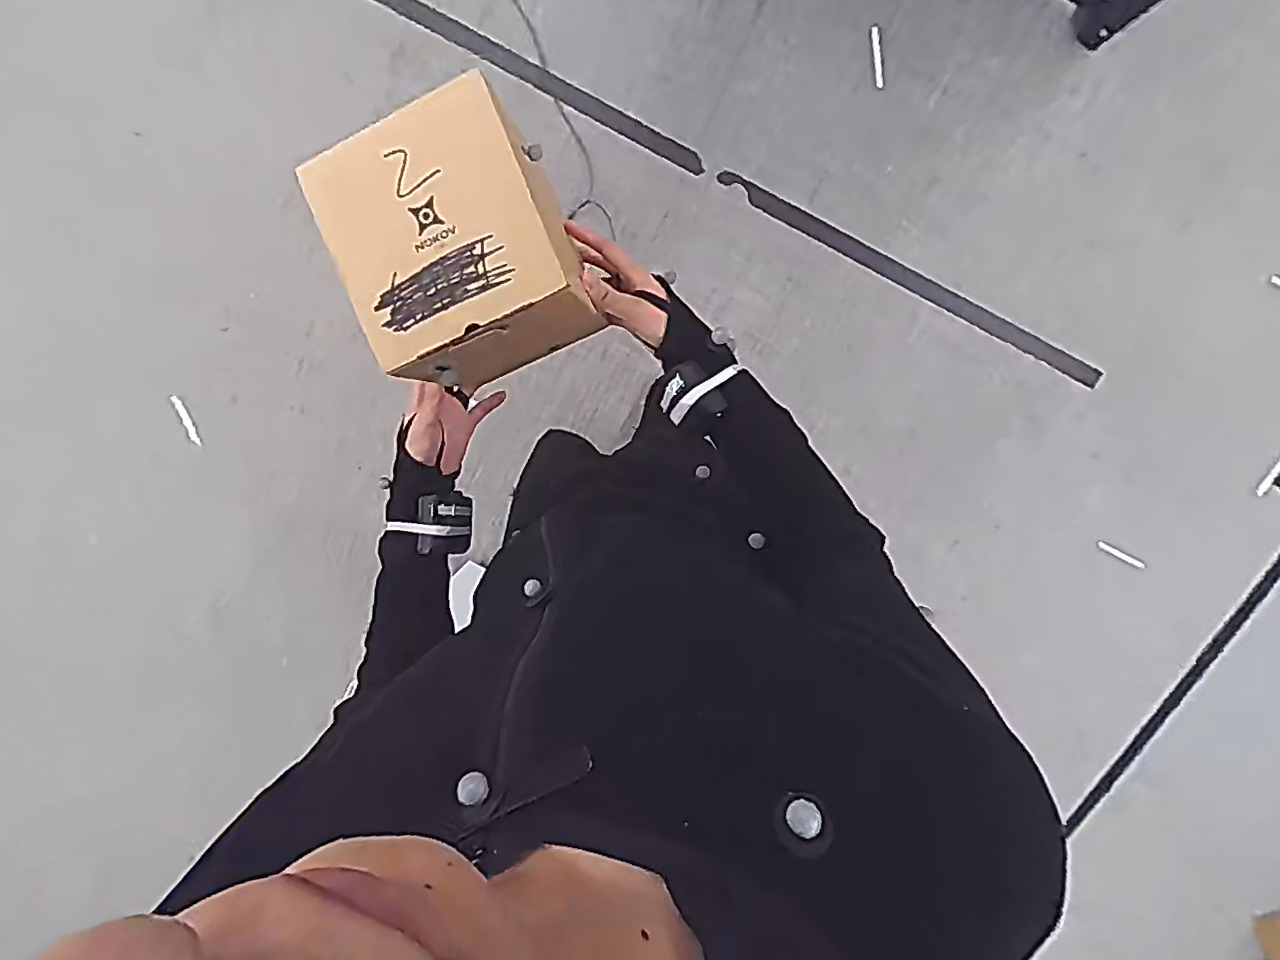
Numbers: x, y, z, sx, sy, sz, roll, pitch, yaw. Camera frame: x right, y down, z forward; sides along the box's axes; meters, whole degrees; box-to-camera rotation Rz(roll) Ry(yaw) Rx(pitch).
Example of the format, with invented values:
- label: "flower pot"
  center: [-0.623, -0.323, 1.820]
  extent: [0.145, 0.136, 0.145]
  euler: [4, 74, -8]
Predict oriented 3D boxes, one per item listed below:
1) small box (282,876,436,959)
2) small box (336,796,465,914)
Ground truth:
- label: "small box"
  center: [-0.424, 0.722, 0.776]
  extent: [0.179, 0.176, 0.168]
  euler: [25, 102, -3]
- label: "small box"
  center: [-0.425, 0.698, 0.940]
  extent: [0.168, 0.176, 0.179]
  euler: [22, 103, -2]
